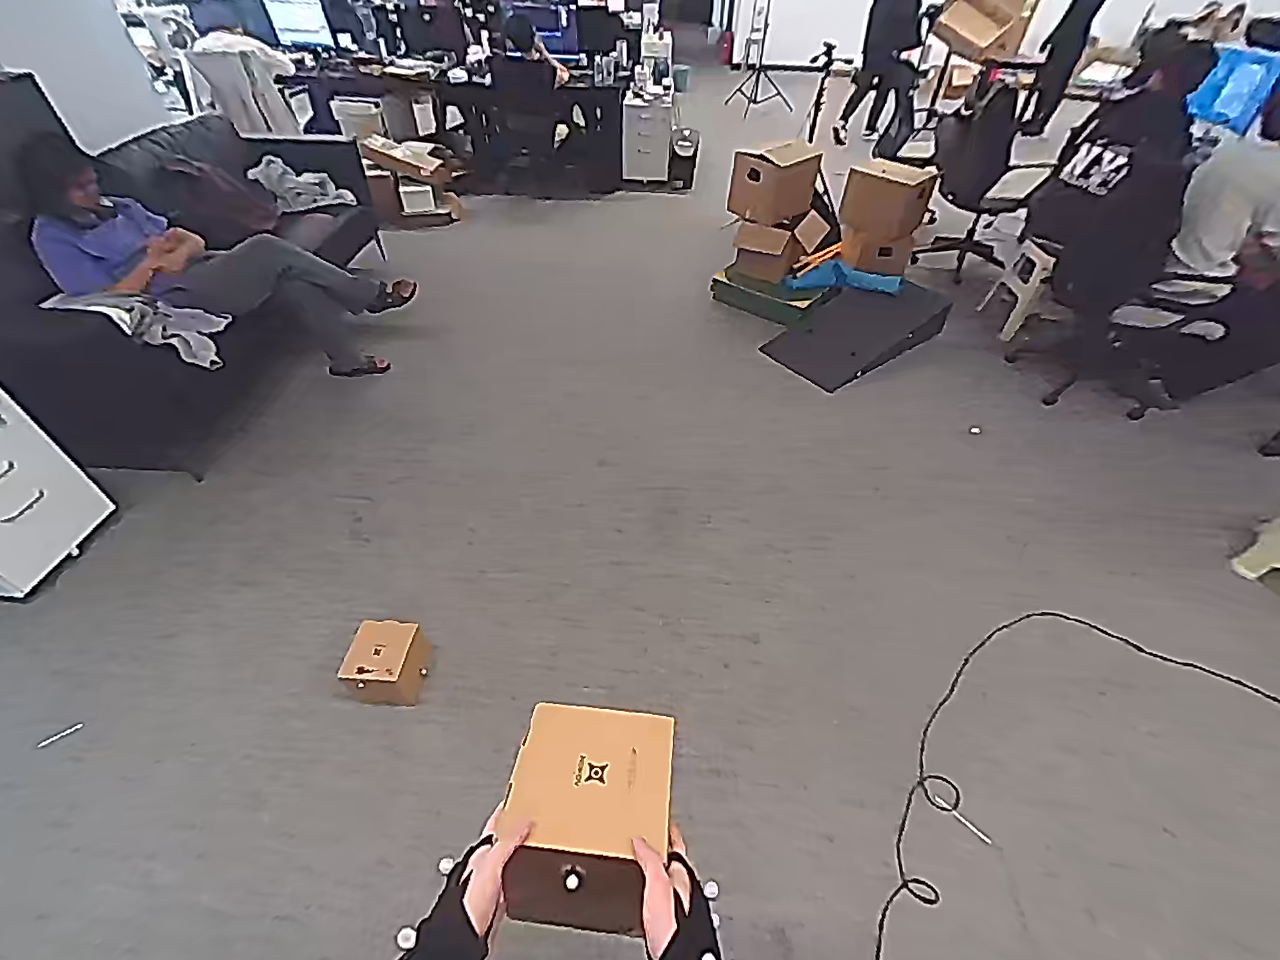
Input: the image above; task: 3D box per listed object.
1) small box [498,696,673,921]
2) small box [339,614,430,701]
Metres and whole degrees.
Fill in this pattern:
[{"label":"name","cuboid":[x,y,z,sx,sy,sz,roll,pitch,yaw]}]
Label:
[{"label":"small box","cuboid":[-0.055,0.389,0.646,0.179,0.176,0.168,5,31,2]},{"label":"small box","cuboid":[-0.726,0.513,1.564,0.168,0.176,0.179,3,45,2]}]
